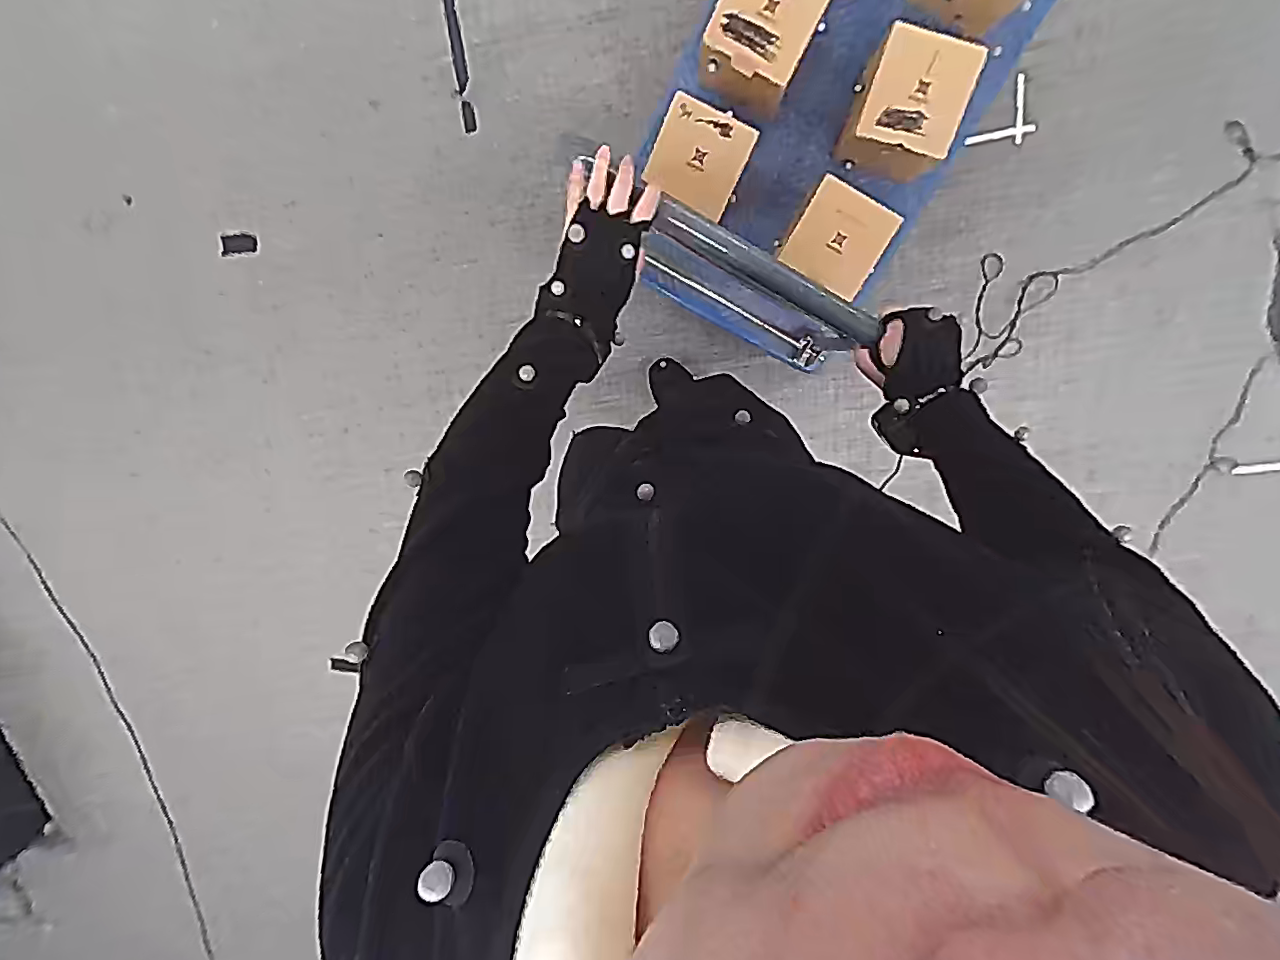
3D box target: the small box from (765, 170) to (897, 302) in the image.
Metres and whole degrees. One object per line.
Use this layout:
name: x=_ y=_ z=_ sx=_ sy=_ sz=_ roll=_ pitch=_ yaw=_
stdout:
small box: x=0.366 y=-0.473 z=1.082 sx=0.168 sy=0.176 sz=0.179 roll=29 pitch=106 yaw=-5

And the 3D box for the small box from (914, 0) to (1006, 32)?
small box: x=0.591 y=-0.927 z=0.925 sx=0.168 sy=0.176 sz=0.179 roll=26 pitch=107 yaw=-3

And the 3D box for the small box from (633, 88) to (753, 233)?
small box: x=0.102 y=-0.608 z=1.060 sx=0.168 sy=0.176 sz=0.179 roll=25 pitch=107 yaw=-4

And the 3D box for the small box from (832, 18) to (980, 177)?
small box: x=0.477 y=-0.693 z=1.005 sx=0.168 sy=0.176 sz=0.179 roll=17 pitch=107 yaw=-1
